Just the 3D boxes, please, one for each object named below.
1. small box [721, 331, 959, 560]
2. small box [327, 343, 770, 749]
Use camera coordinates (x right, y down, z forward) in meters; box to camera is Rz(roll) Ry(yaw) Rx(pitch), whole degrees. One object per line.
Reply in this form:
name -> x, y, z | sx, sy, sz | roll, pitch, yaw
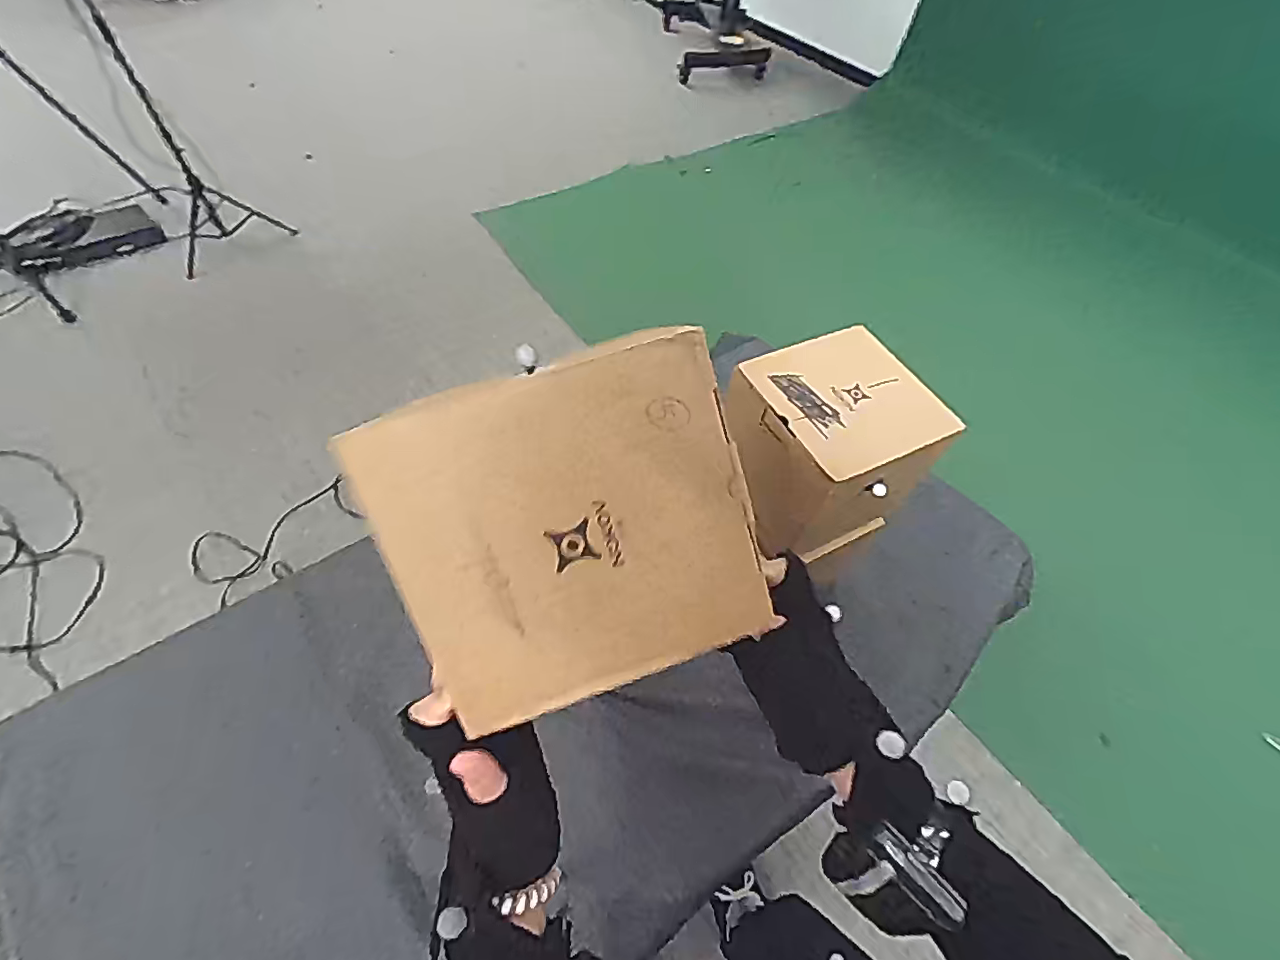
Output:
small box -> 0.203, -0.035, 0.616 | 0.179, 0.176, 0.168 | -21, 60, -19
small box -> -0.045, 0.017, 0.336 | 0.179, 0.168, 0.176 | -19, 17, -4
